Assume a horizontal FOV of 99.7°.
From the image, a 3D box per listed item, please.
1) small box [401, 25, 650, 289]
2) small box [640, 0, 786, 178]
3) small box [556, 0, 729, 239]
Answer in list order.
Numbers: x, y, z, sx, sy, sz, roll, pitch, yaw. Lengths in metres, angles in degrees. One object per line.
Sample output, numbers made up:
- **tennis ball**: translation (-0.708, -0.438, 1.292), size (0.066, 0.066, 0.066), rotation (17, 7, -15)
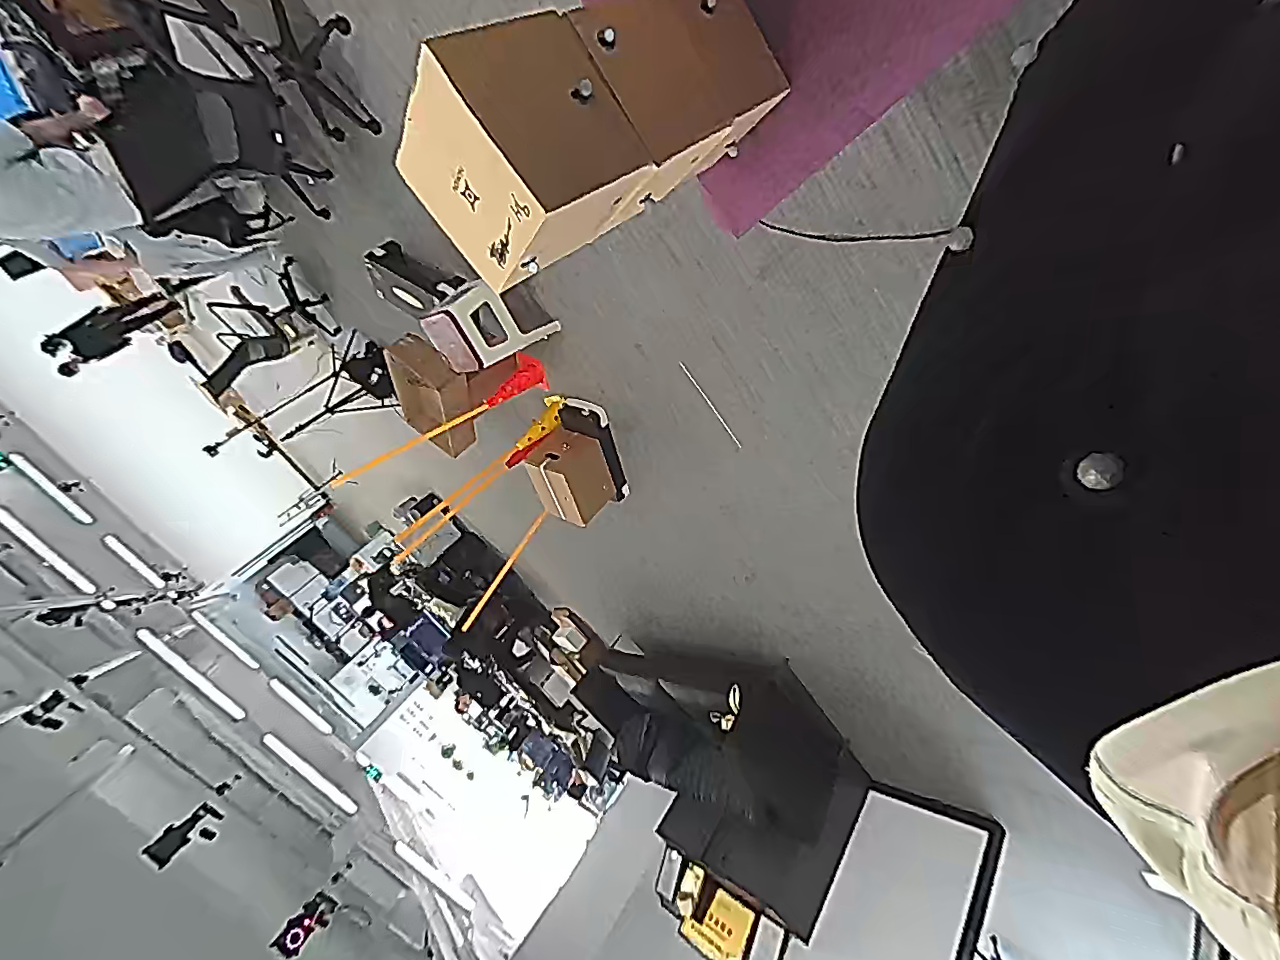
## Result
- **small box**: translation (-0.125, -0.351, 0.595), size (0.179, 0.176, 0.168), rotation (53, 150, -12)
- **small box**: translation (0.069, -0.554, 0.761), size (0.179, 0.176, 0.168), rotation (52, 149, -14)
- **small box**: translation (-0.021, -0.449, 0.678), size (0.179, 0.176, 0.168), rotation (54, 149, -14)
